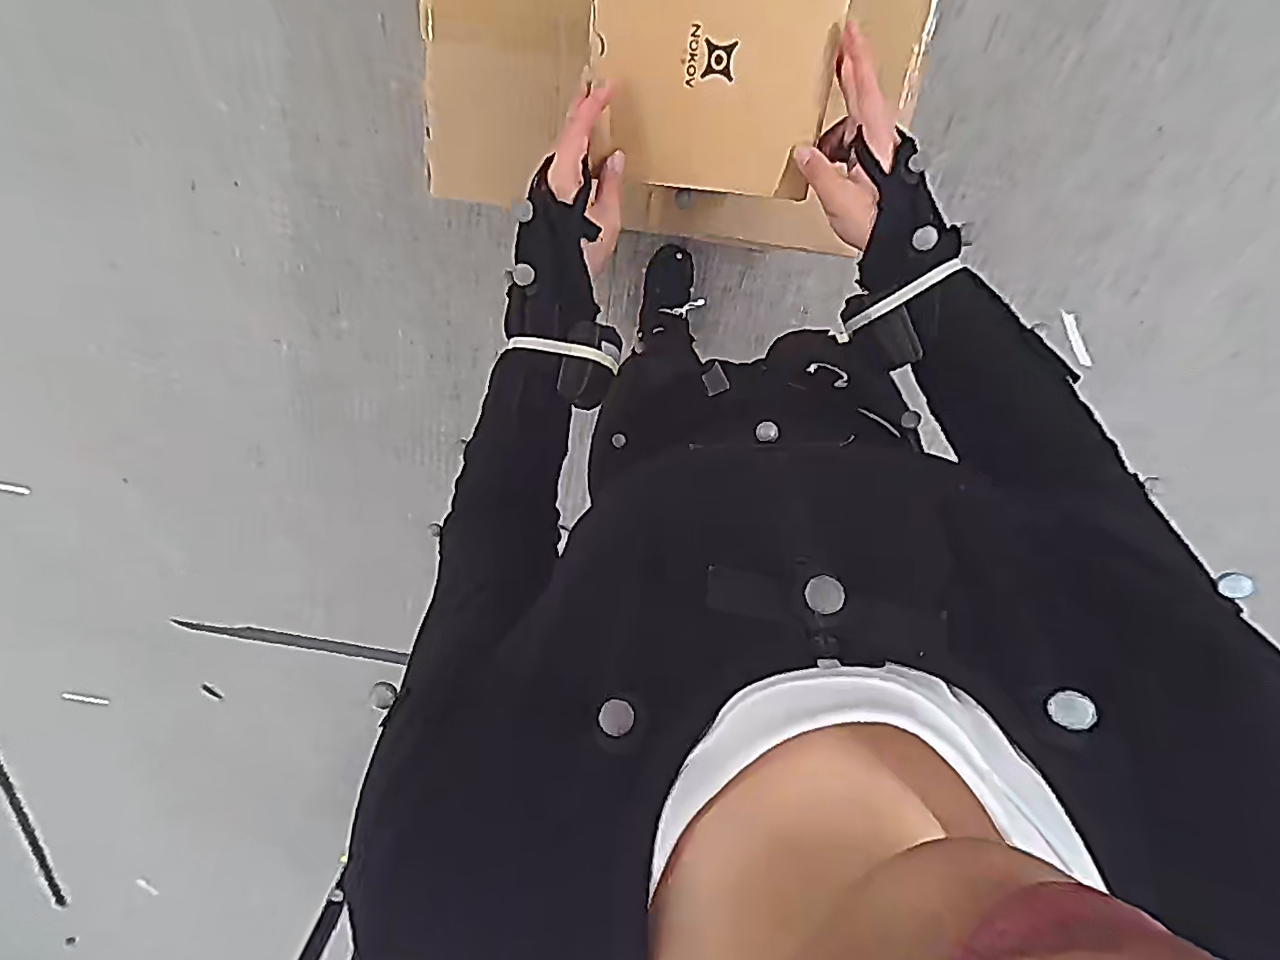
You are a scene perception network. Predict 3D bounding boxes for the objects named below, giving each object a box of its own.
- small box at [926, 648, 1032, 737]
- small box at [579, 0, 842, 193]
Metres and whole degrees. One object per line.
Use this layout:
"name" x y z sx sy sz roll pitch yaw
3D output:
"small box" 0.980 0.614 1.580 0.179 0.176 0.168 9 114 -1
"small box" 0.050 -0.345 0.447 0.179 0.176 0.168 6 122 0
